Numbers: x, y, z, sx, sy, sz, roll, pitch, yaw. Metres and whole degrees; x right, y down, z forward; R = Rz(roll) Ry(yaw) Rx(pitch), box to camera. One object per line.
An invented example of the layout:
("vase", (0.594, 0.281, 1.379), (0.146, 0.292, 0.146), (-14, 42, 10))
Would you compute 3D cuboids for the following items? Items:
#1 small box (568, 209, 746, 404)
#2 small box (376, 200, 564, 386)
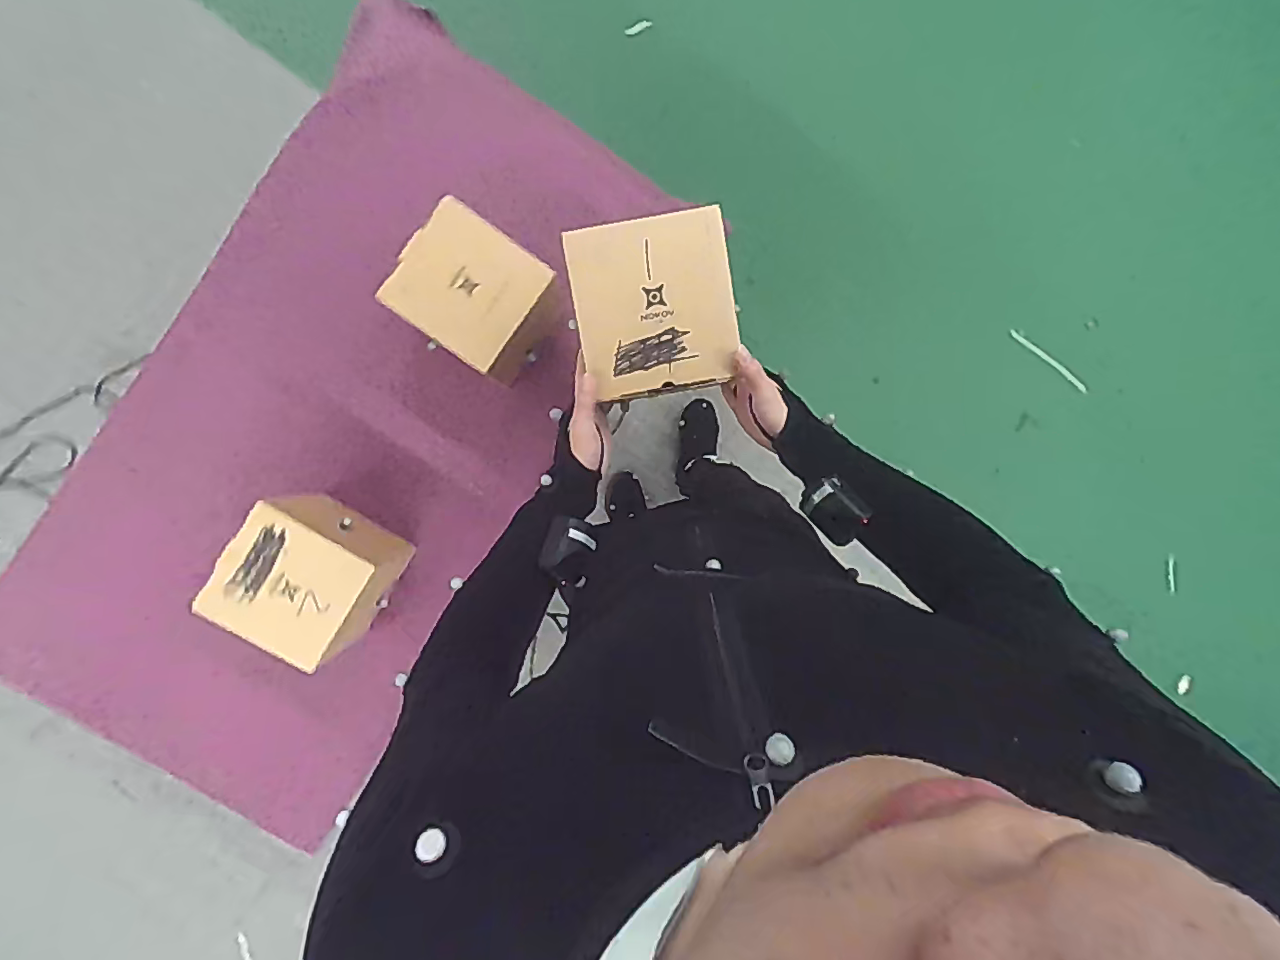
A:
("small box", (0.020, -0.185, 0.630), (0.168, 0.176, 0.179), (-9, 96, 1))
("small box", (-0.231, -0.253, 0.784), (0.179, 0.176, 0.168), (35, 91, -3))
